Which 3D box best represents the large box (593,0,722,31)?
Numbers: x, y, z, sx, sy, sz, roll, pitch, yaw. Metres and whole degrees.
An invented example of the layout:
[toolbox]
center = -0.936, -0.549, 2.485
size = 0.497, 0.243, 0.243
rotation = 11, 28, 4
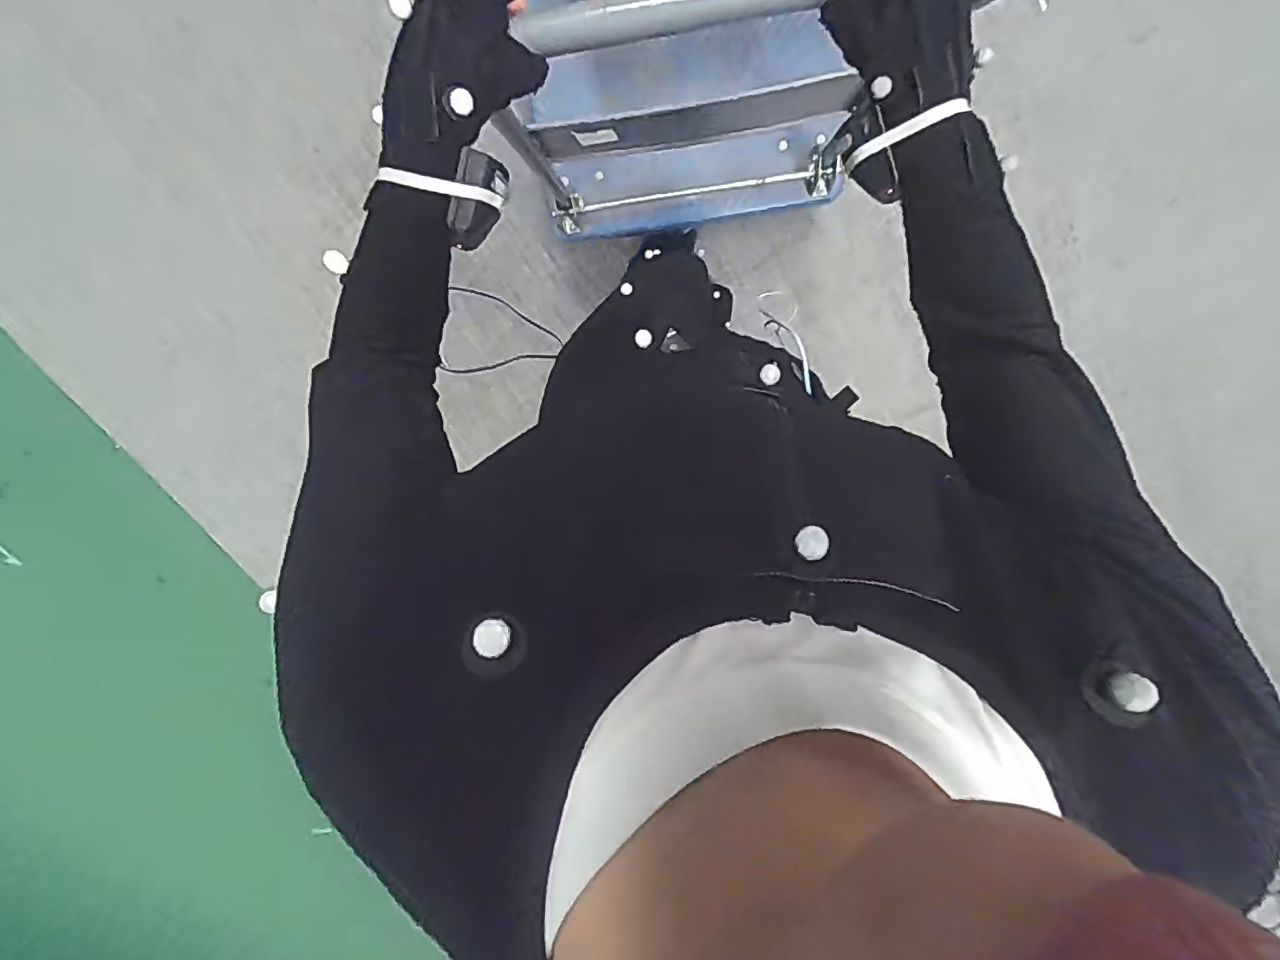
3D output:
[large box]
center = 0.087, -0.937, 0.777
size = 0.408, 0.320, 0.320
rotation = -8, 108, 8
